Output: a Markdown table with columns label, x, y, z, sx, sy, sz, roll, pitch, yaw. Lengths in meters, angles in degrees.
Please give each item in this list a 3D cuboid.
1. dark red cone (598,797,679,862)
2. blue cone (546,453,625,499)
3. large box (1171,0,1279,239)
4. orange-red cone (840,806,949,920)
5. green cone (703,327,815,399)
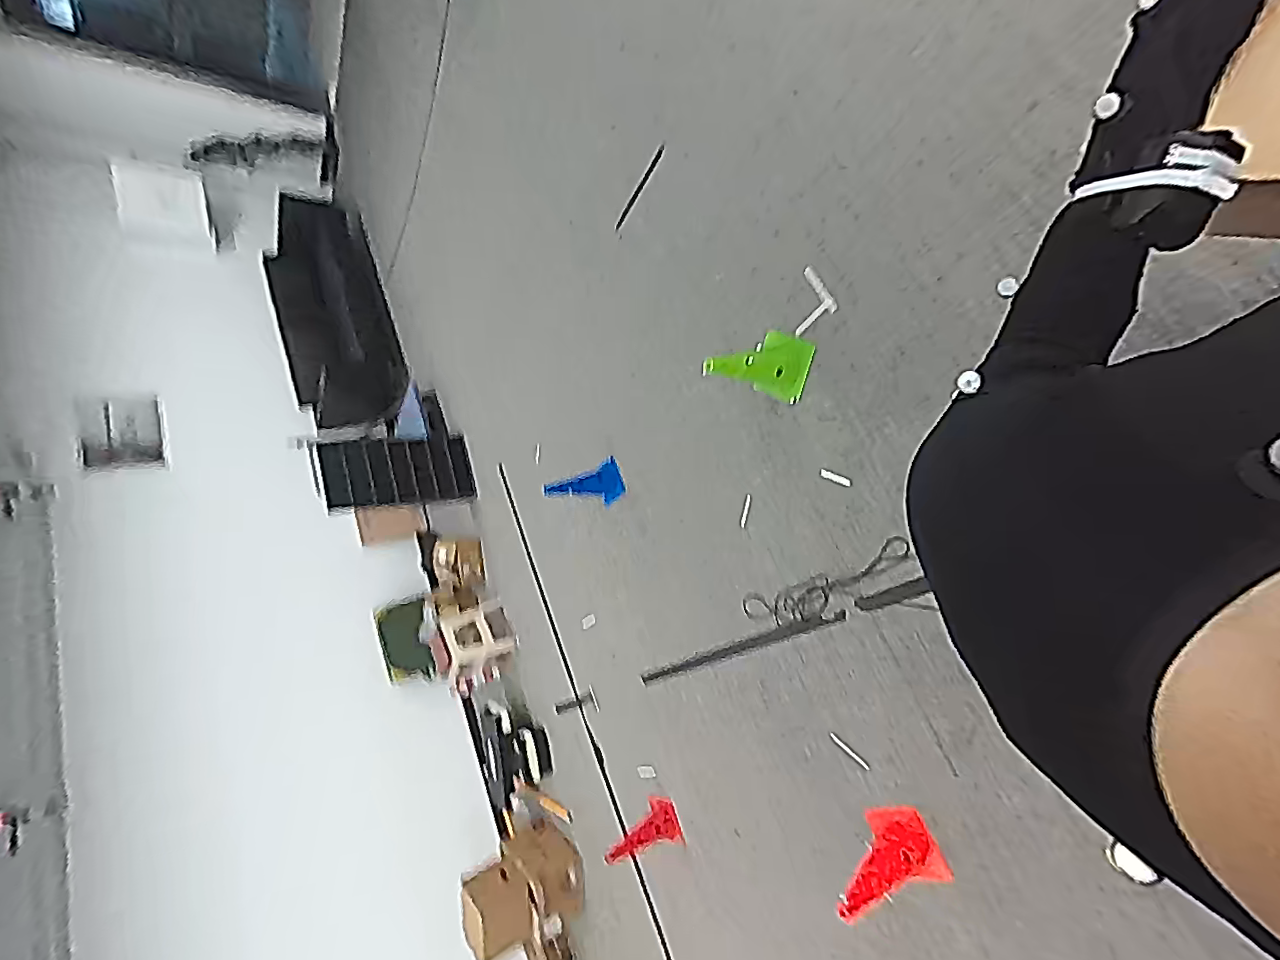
| label | x | y | z | sx | sy | sz | roll | pitch | yaw |
| --- | --- | --- | --- | --- | --- | --- | --- | --- | --- |
| dark red cone | -0.022 | 1.651 | 2.500 | 0.202 | 0.394 | 0.201 | -34 | 69 | 49 |
| blue cone | -0.270 | 0.000 | 2.561 | 0.193 | 0.380 | 0.192 | -37 | 67 | 48 |
| large box | 0.644 | -0.326 | 0.313 | 0.408 | 0.320 | 0.320 | 26 | 118 | 43 |
| orange-red cone | 0.681 | 1.122 | 1.542 | 0.199 | 0.360 | 0.198 | -44 | 64 | 45 |
| green cone | 0.341 | -0.371 | 1.683 | 0.202 | 0.368 | 0.200 | 36 | 123 | 44 |
